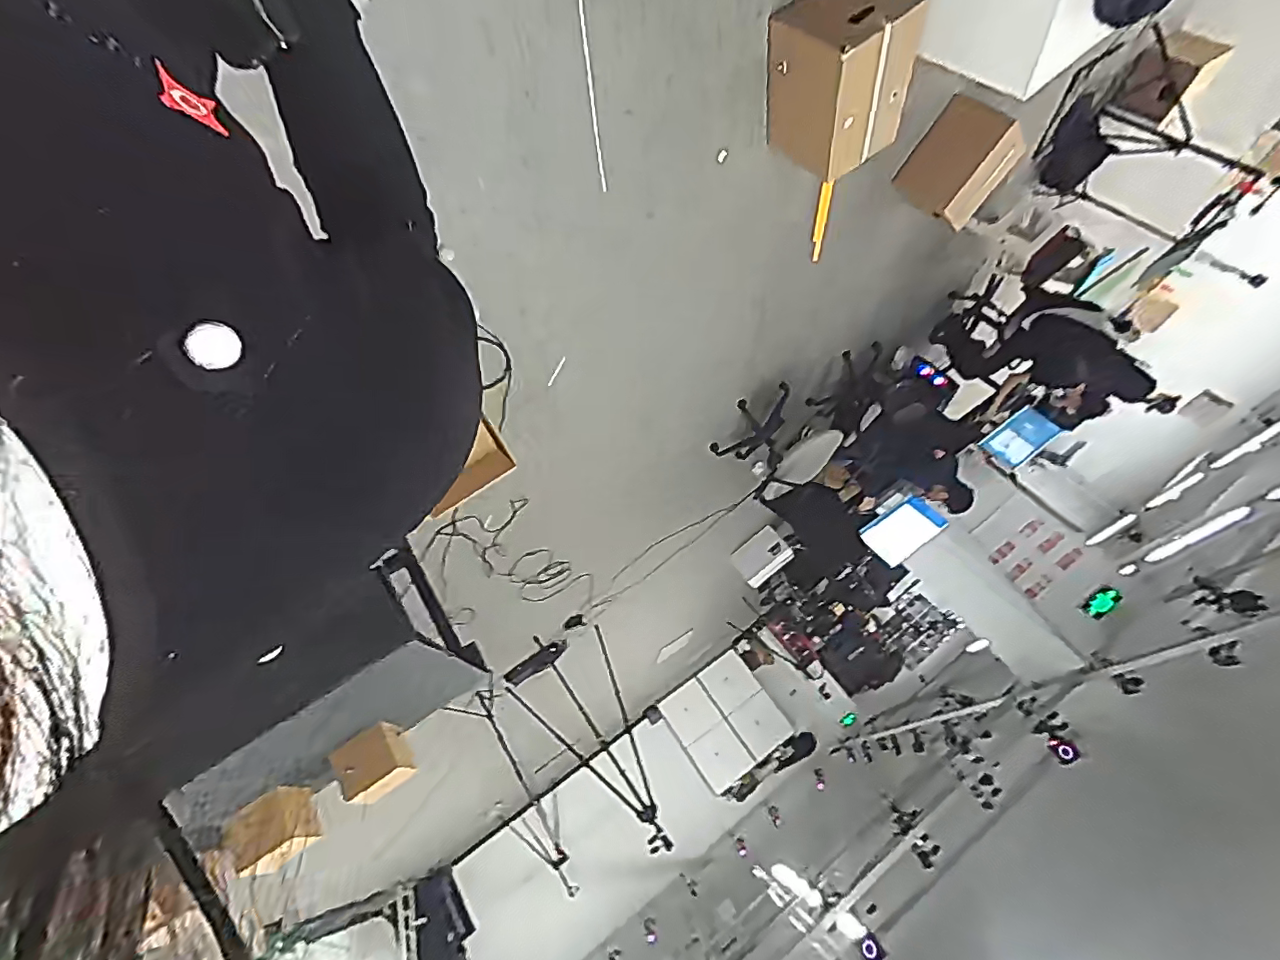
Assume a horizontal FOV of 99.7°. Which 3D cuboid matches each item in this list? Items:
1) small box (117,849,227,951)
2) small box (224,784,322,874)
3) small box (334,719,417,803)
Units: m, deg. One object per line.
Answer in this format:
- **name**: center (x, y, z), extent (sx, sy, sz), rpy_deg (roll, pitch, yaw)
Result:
- **small box**: center (-1.359, 1.209, 1.573), extent (0.168, 0.176, 0.179), rpy_deg (-32, 152, -17)
- **small box**: center (-1.124, 1.061, 1.655), extent (0.168, 0.176, 0.179), rpy_deg (-31, 153, -17)
- **small box**: center (-0.861, 0.909, 1.749), extent (0.179, 0.176, 0.168), rpy_deg (-30, 152, -16)
